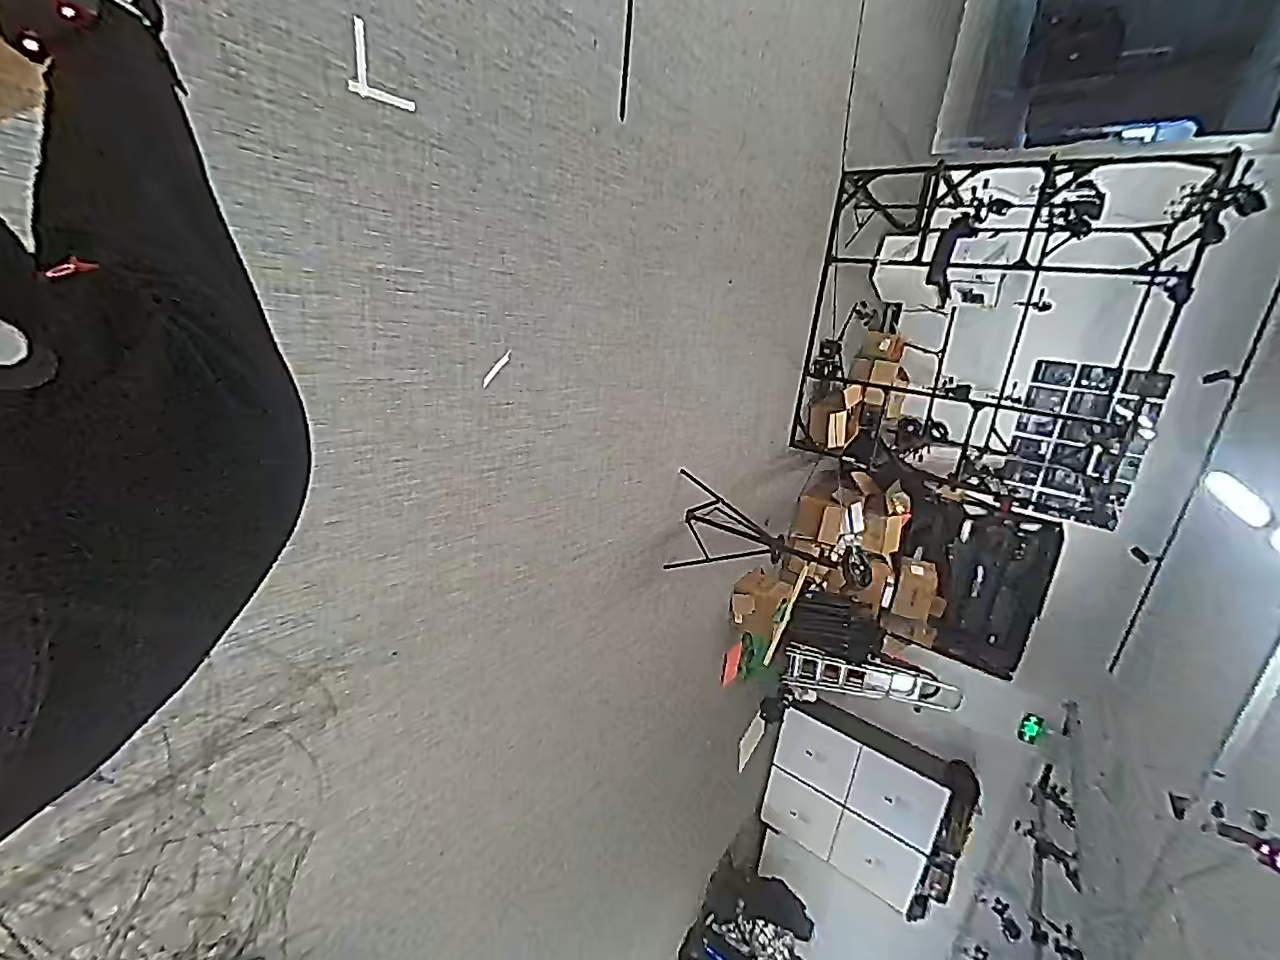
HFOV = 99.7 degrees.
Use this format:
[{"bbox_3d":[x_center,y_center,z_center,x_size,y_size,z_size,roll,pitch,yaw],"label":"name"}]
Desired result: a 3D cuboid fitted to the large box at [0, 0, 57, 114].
[{"bbox_3d":[-0.692,-0.467,0.319,0.408,0.320,0.320,-13,118,-57],"label":"large box"}]
